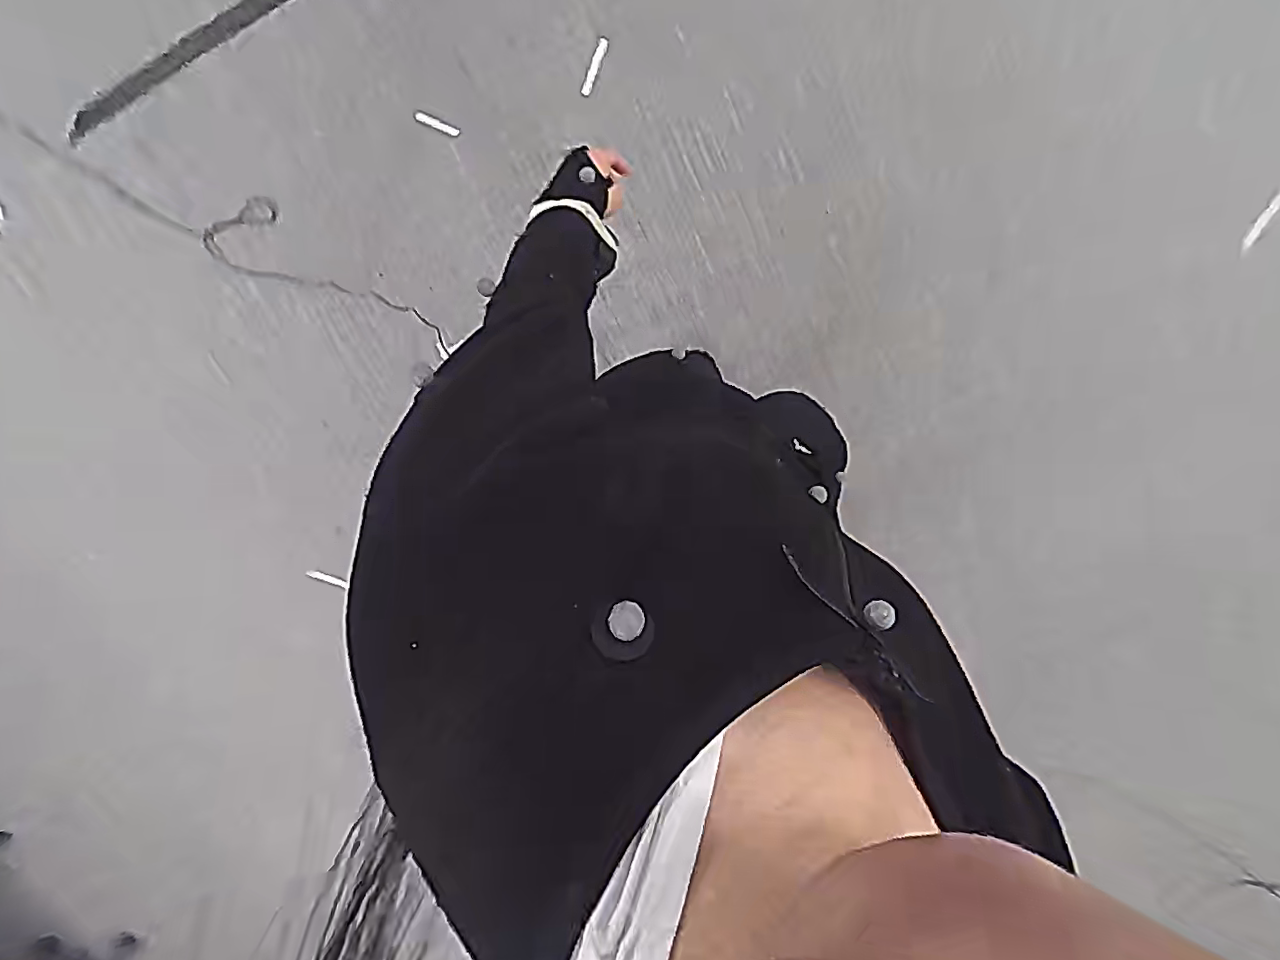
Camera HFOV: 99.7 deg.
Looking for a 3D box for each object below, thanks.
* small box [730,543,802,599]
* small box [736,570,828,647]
[{"bbox_3d":[0.333,0.276,1.341,0.168,0.176,0.179,-25,105,12],"label":"small box"},{"bbox_3d":[0.319,0.326,1.188,0.179,0.176,0.168,-26,103,12],"label":"small box"}]
